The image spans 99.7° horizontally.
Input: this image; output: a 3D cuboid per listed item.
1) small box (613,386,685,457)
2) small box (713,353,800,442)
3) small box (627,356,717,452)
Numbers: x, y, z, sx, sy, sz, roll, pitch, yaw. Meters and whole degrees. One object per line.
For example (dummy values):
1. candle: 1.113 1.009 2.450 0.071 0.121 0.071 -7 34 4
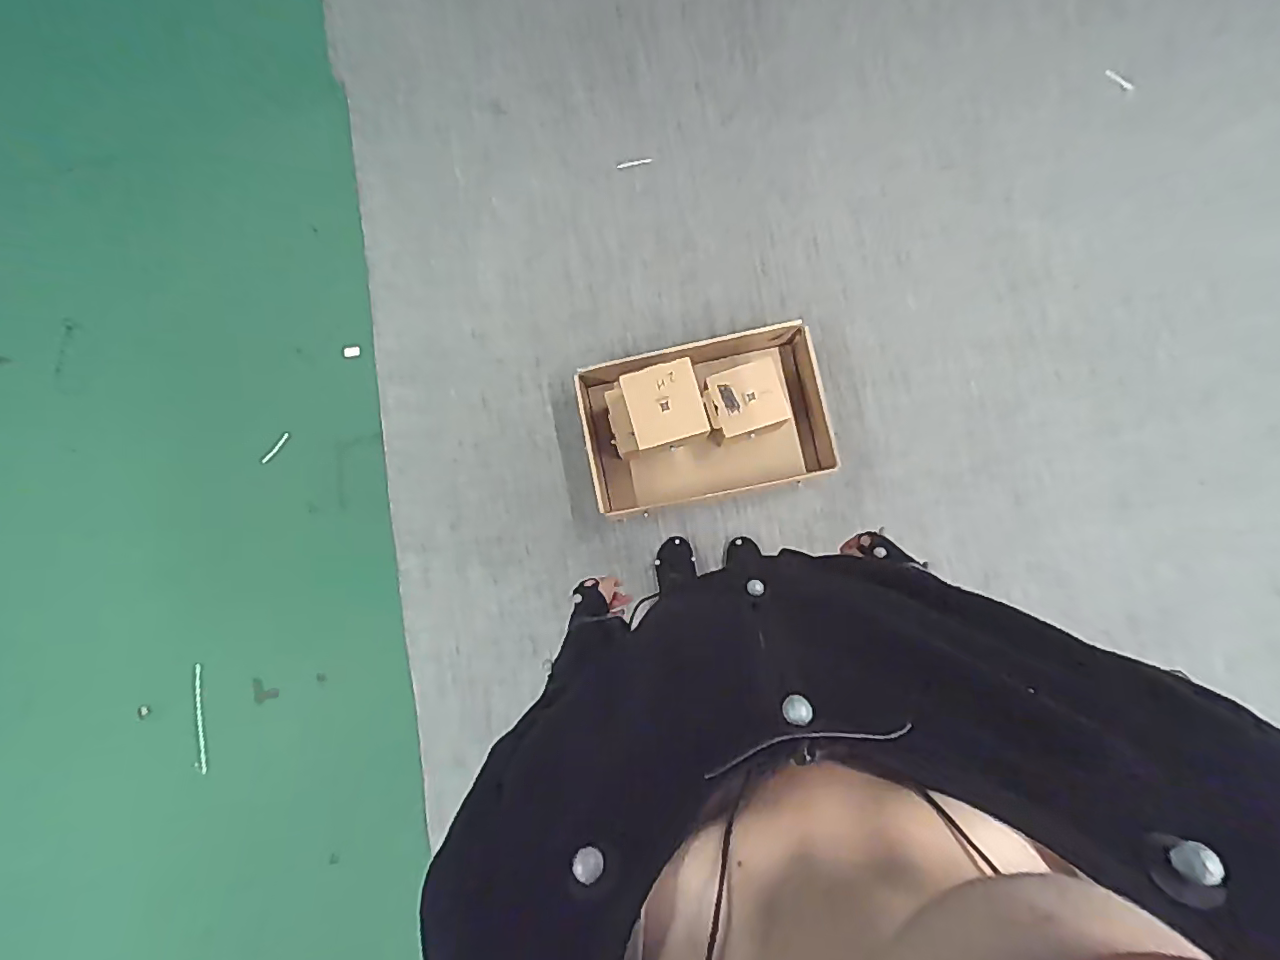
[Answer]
1. small box: 0.038 -0.164 1.437 0.179 0.176 0.168 -14 86 2
2. small box: 0.298 -0.206 1.416 0.179 0.176 0.168 -18 84 4
3. small box: 0.076 -0.168 1.271 0.168 0.176 0.179 -16 86 2
